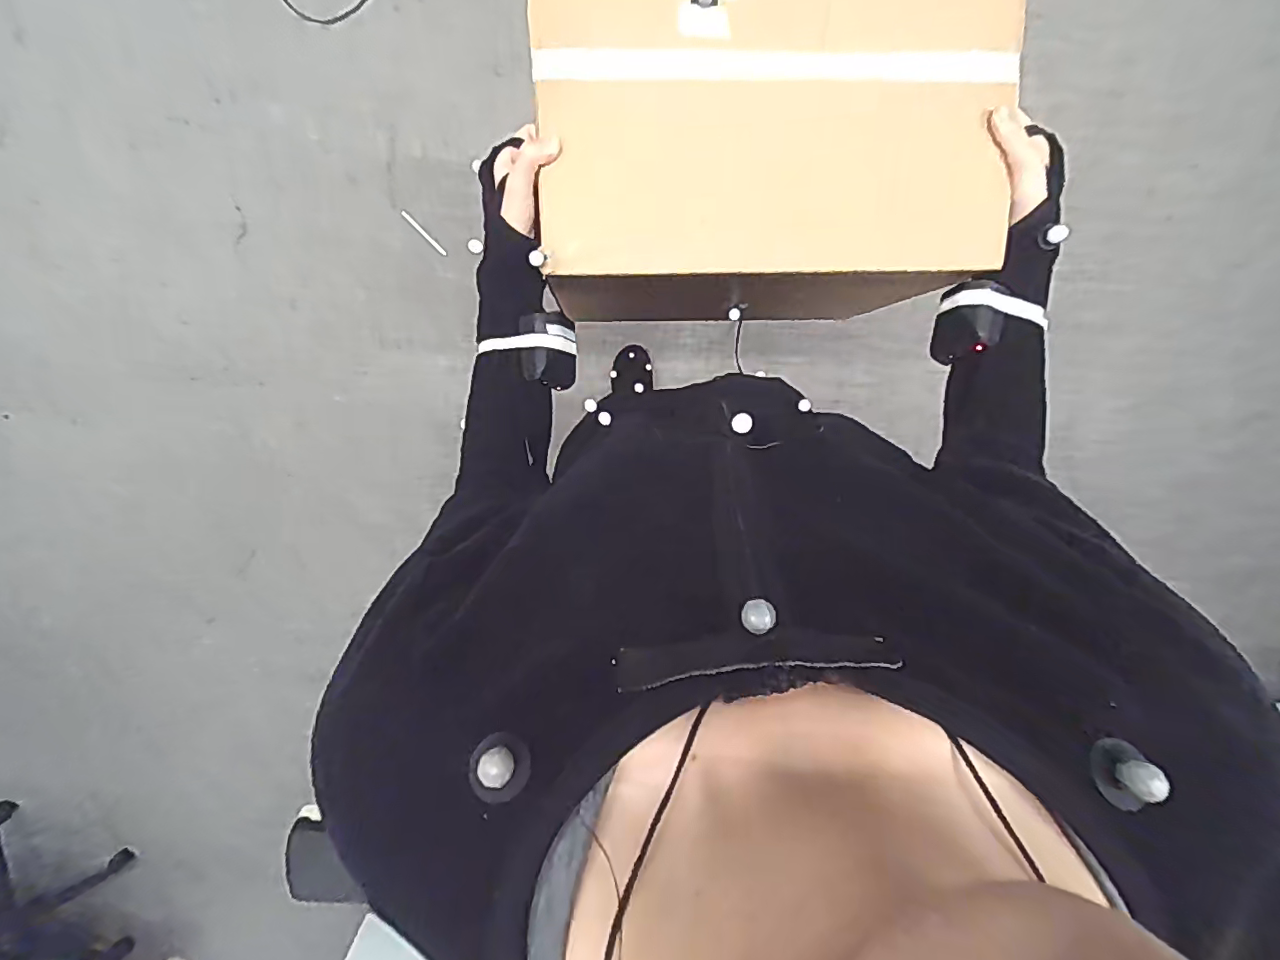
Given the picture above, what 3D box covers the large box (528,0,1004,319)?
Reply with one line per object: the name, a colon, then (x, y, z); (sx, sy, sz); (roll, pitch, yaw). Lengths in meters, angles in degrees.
large box: (0.103, -0.359, 0.603); (0.408, 0.320, 0.320); (-2, 98, -2)
